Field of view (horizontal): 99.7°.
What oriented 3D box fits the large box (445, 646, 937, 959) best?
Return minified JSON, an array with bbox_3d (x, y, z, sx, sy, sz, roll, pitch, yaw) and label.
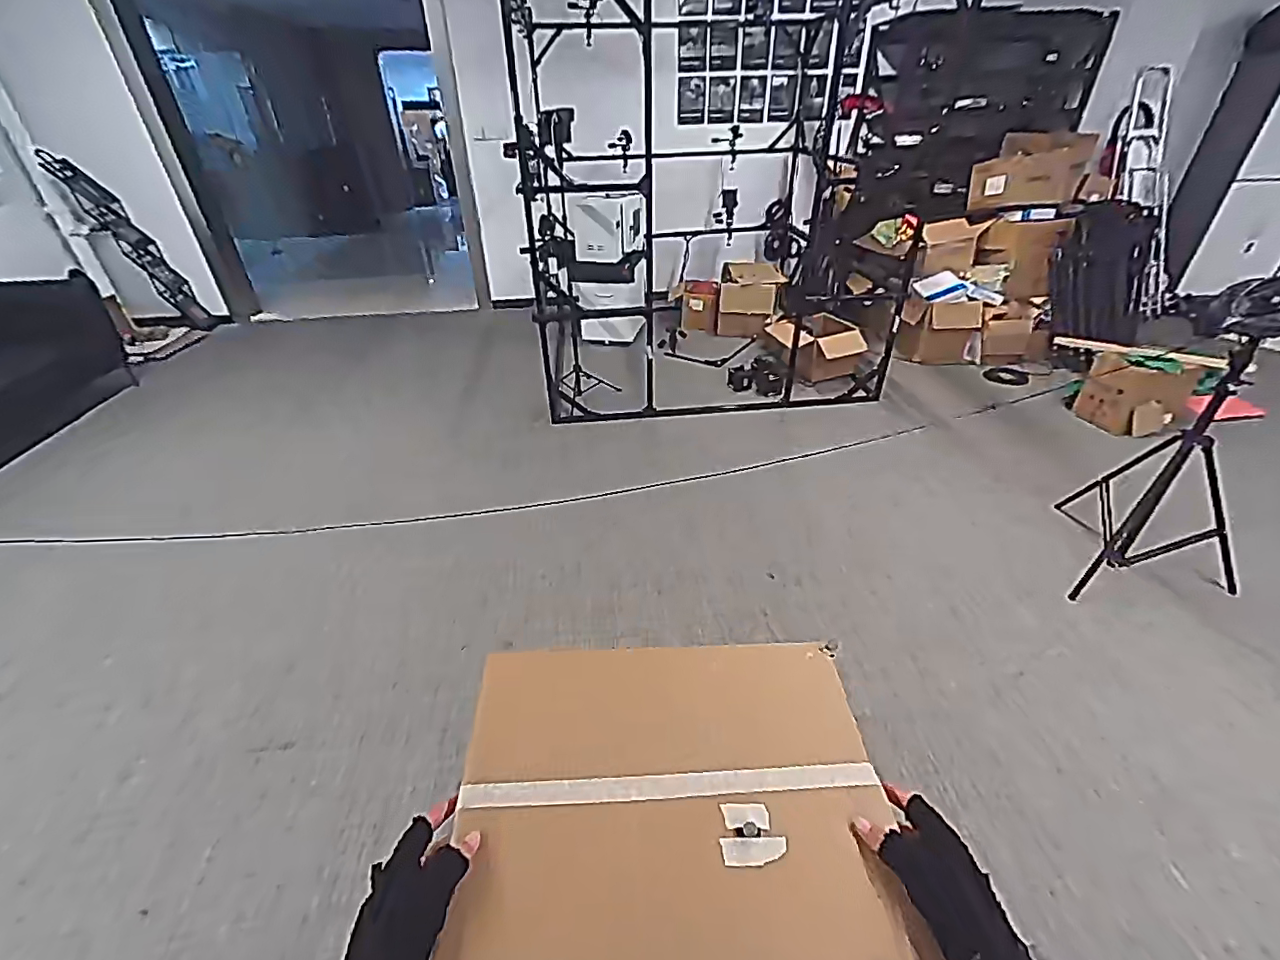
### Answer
[{"bbox_3d":[0.030,0.422,0.625,0.408,0.320,0.320,-1,39,-3],"label":"large box"}]
